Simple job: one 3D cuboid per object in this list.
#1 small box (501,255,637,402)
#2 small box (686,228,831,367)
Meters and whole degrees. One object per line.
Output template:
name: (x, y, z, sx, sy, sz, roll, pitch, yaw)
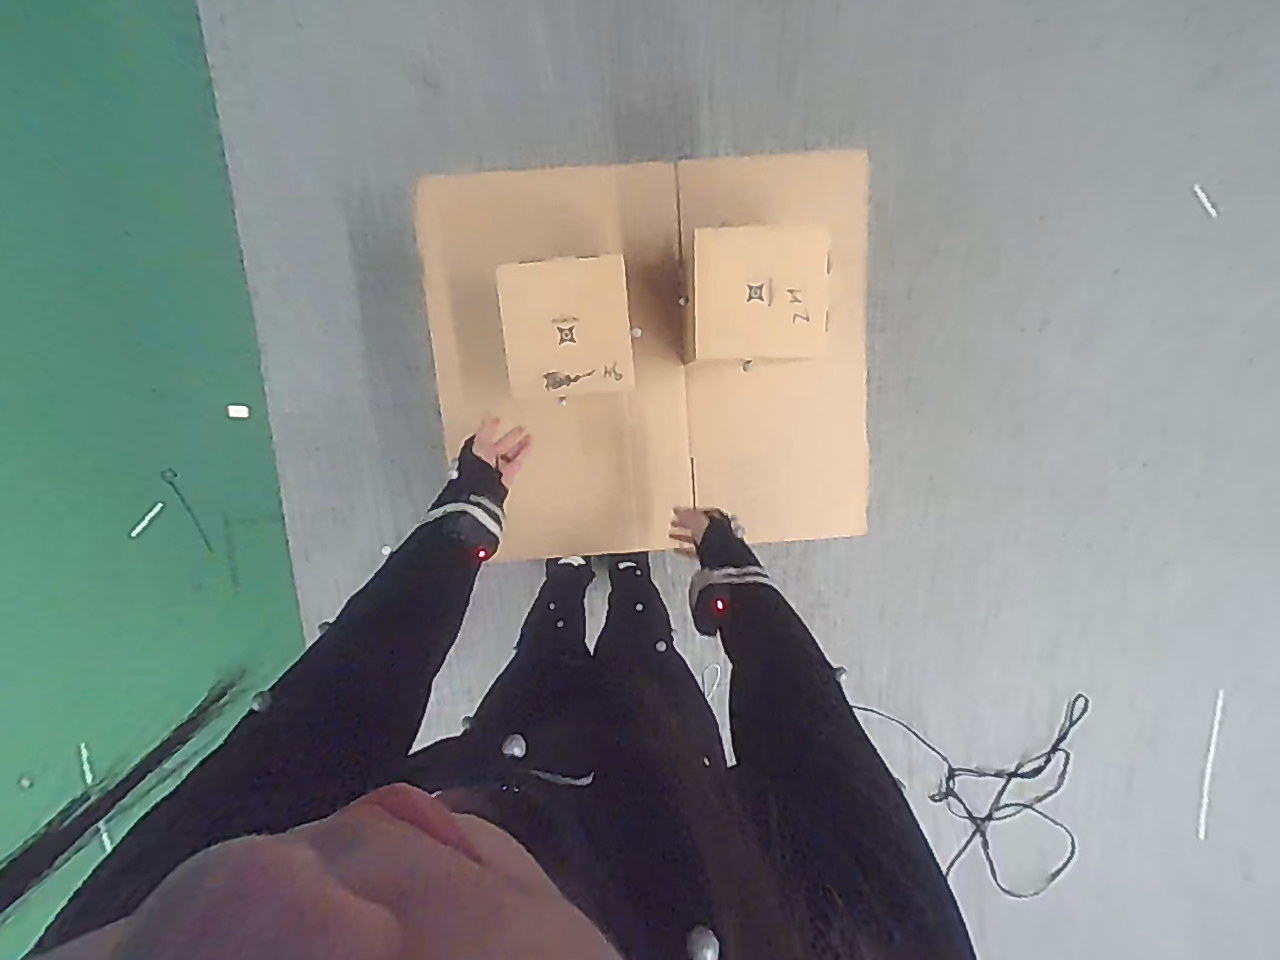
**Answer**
small box: (-0.093, -0.206, 0.776, 0.168, 0.176, 0.179, -5, 98, 0)
small box: (0.157, -0.250, 0.775, 0.179, 0.176, 0.168, -1, 100, 1)
